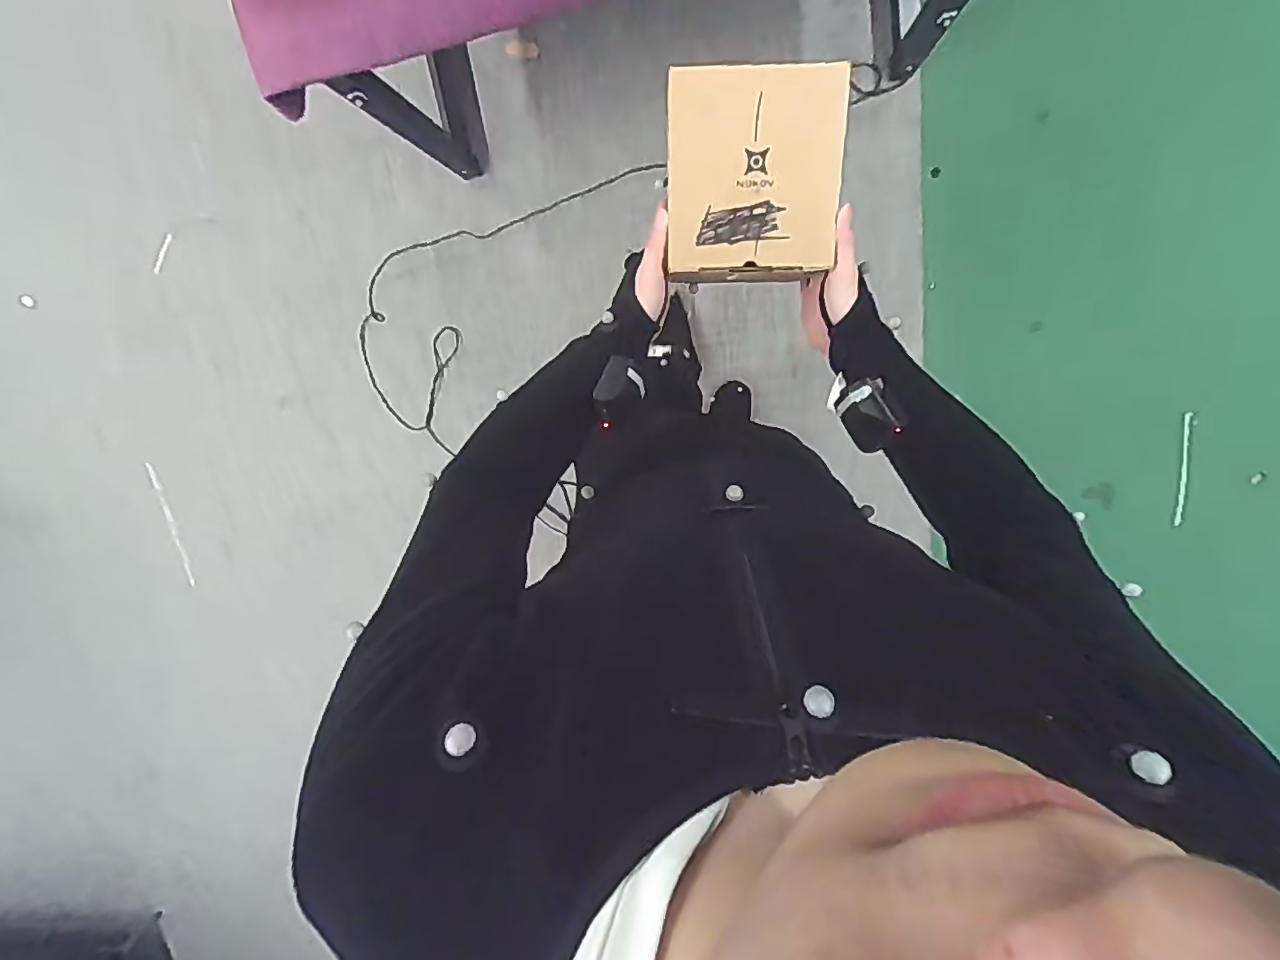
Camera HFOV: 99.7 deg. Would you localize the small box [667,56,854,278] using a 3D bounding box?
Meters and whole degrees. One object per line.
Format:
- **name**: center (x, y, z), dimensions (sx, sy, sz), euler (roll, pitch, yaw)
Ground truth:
- **small box**: center (0.114, -0.315, 0.583), dimensions (0.168, 0.176, 0.179), euler (0, 105, 2)
